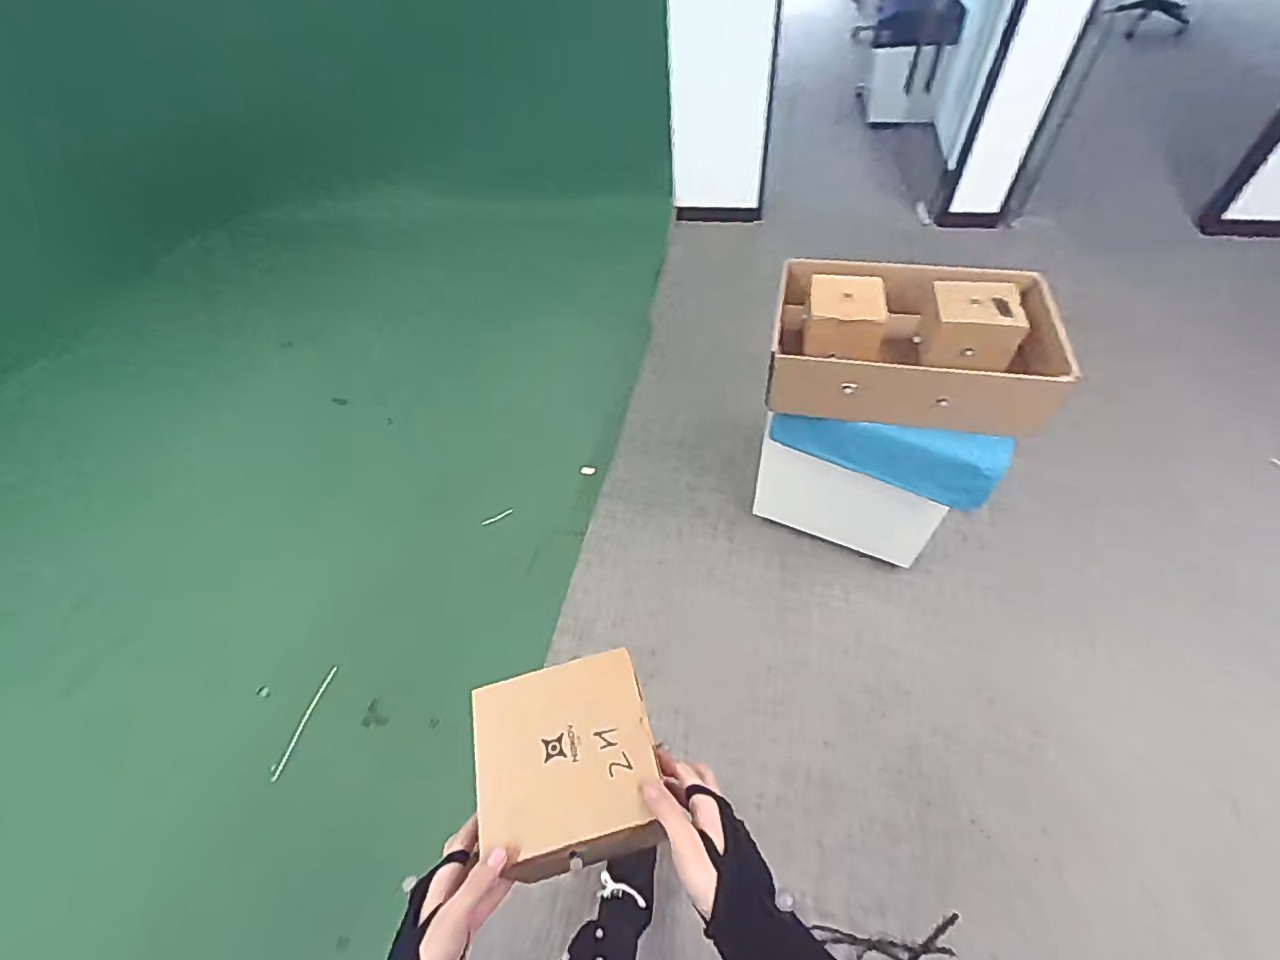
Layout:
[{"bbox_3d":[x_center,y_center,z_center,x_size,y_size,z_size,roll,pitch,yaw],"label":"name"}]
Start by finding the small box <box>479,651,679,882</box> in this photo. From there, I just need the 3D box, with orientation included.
[{"bbox_3d":[-0.062,0.315,0.589,0.179,0.176,0.168,-13,50,-5],"label":"small box"}]
